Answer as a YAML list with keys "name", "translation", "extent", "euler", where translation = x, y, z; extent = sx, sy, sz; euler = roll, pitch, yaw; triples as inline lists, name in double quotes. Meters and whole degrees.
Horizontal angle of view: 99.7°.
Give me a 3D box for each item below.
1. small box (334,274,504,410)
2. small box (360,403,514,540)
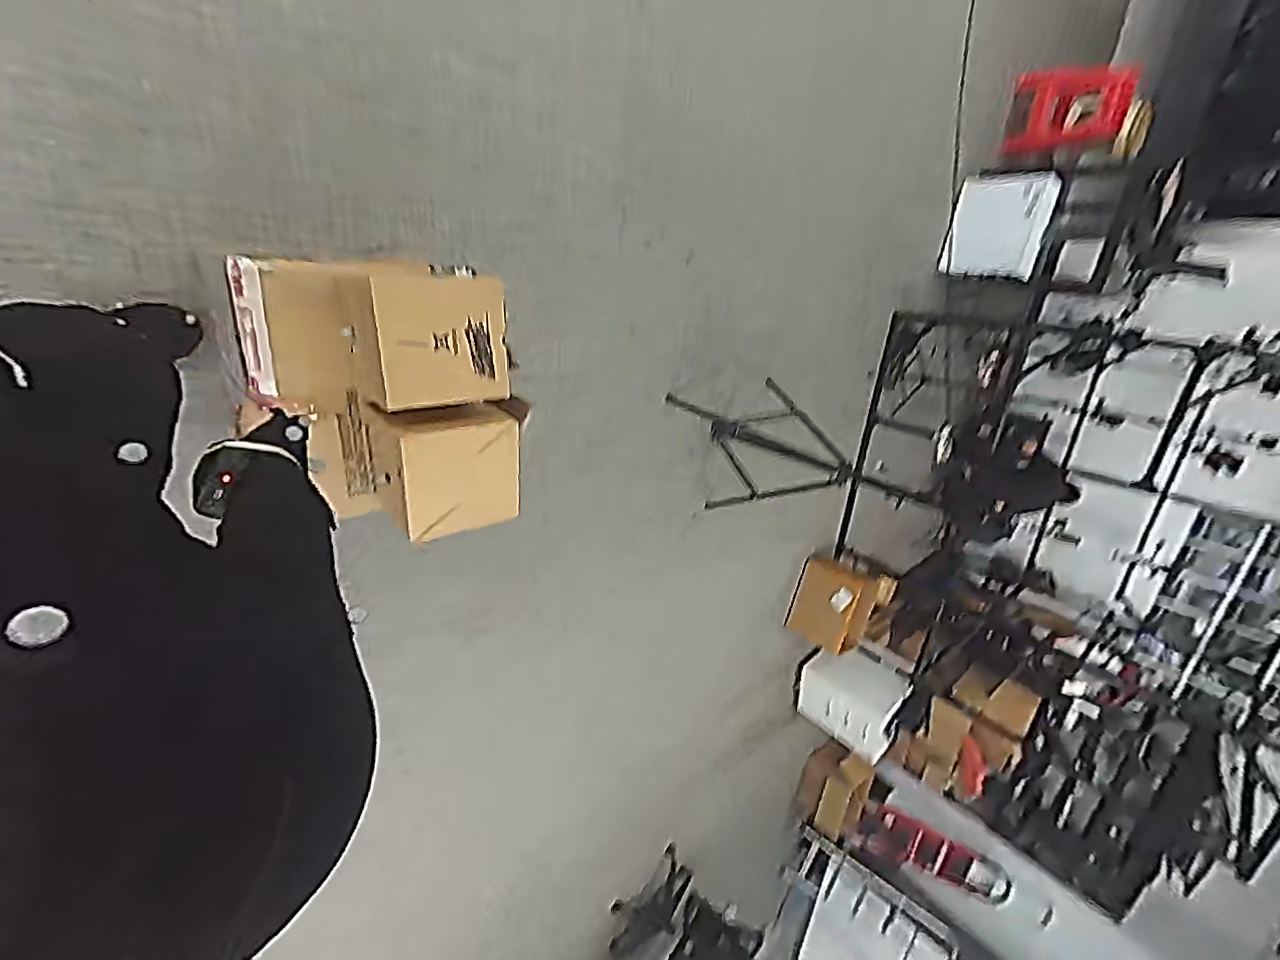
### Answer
- name: "small box"
  translation: [-0.316, -0.204, 0.780]
  extent: [0.179, 0.176, 0.168]
  euler: [-14, 115, -38]
- name: "small box"
  translation: [-0.319, -0.023, 0.857]
  extent: [0.179, 0.176, 0.168]
  euler: [-14, 120, -38]
